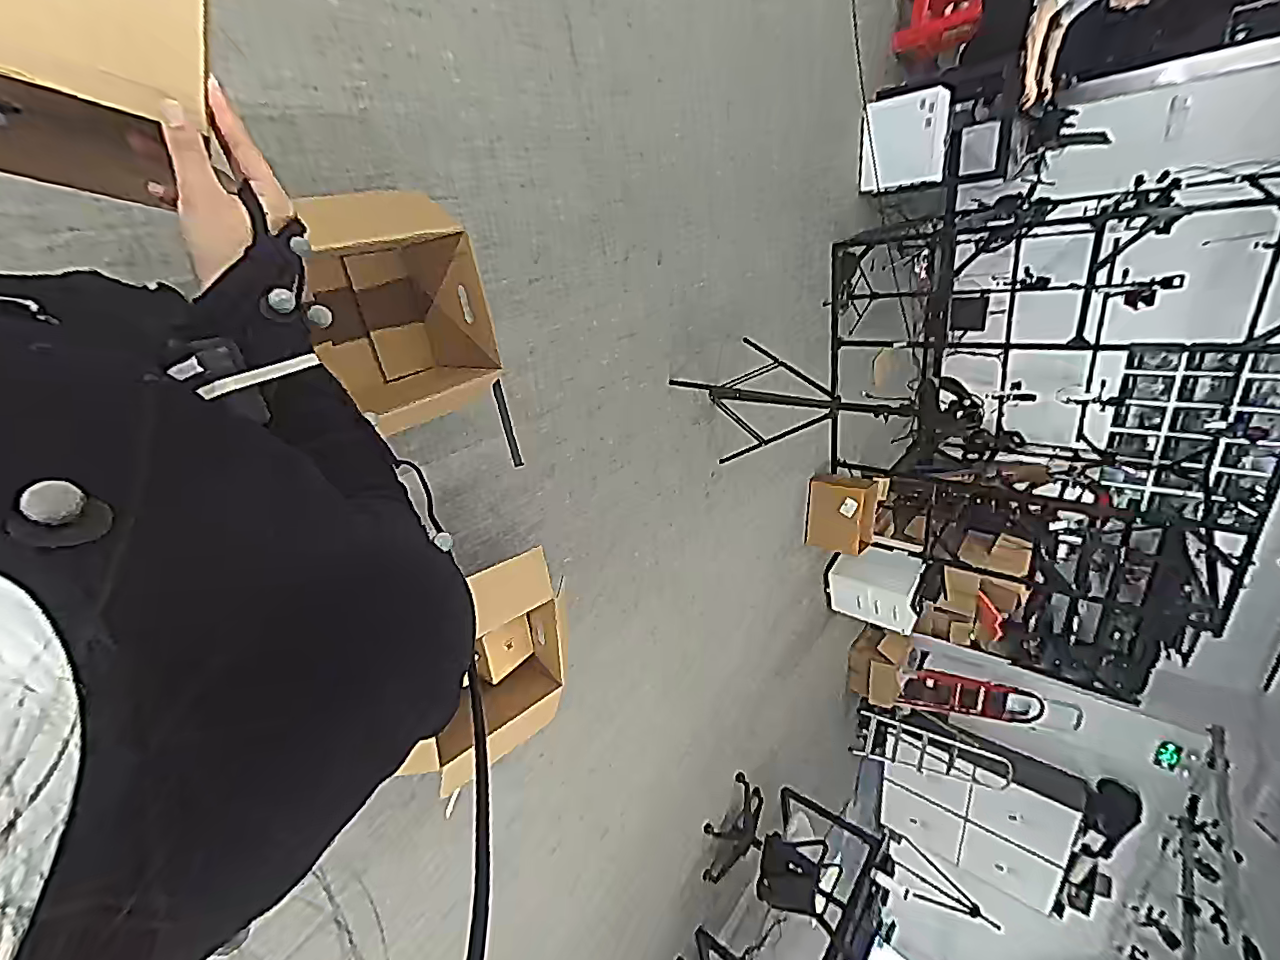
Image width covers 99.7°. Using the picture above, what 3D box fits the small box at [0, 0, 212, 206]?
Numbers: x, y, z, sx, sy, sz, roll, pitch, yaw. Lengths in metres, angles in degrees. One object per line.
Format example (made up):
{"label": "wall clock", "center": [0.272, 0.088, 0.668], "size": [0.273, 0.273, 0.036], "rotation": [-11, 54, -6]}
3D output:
{"label": "small box", "center": [-0.388, -0.303, 0.347], "size": [0.179, 0.176, 0.168], "rotation": [0, 95, -39]}
